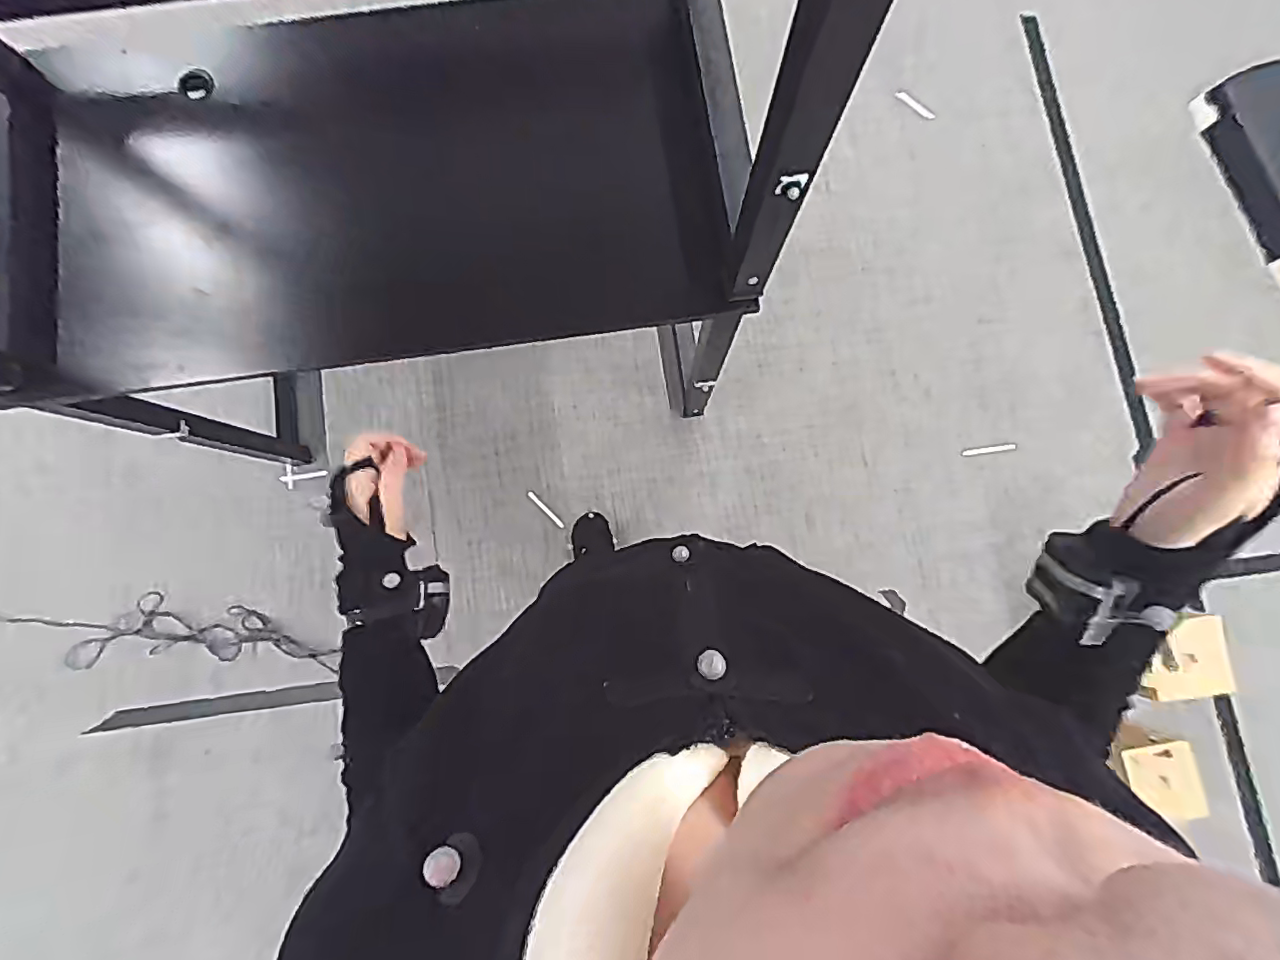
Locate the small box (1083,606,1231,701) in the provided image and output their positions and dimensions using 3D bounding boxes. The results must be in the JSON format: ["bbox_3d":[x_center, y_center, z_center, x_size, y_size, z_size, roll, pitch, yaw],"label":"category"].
[{"bbox_3d":[1.156,0.387,1.229,0.179,0.176,0.168,-7,84,-2],"label":"small box"}]

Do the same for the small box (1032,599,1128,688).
[{"bbox_3d":[1.161,0.413,1.391,0.168,0.176,0.179,-9,84,-1],"label":"small box"}]

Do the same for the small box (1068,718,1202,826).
[{"bbox_3d":[1.229,0.724,1.356,0.168,0.176,0.179,-9,84,-1],"label":"small box"}]
